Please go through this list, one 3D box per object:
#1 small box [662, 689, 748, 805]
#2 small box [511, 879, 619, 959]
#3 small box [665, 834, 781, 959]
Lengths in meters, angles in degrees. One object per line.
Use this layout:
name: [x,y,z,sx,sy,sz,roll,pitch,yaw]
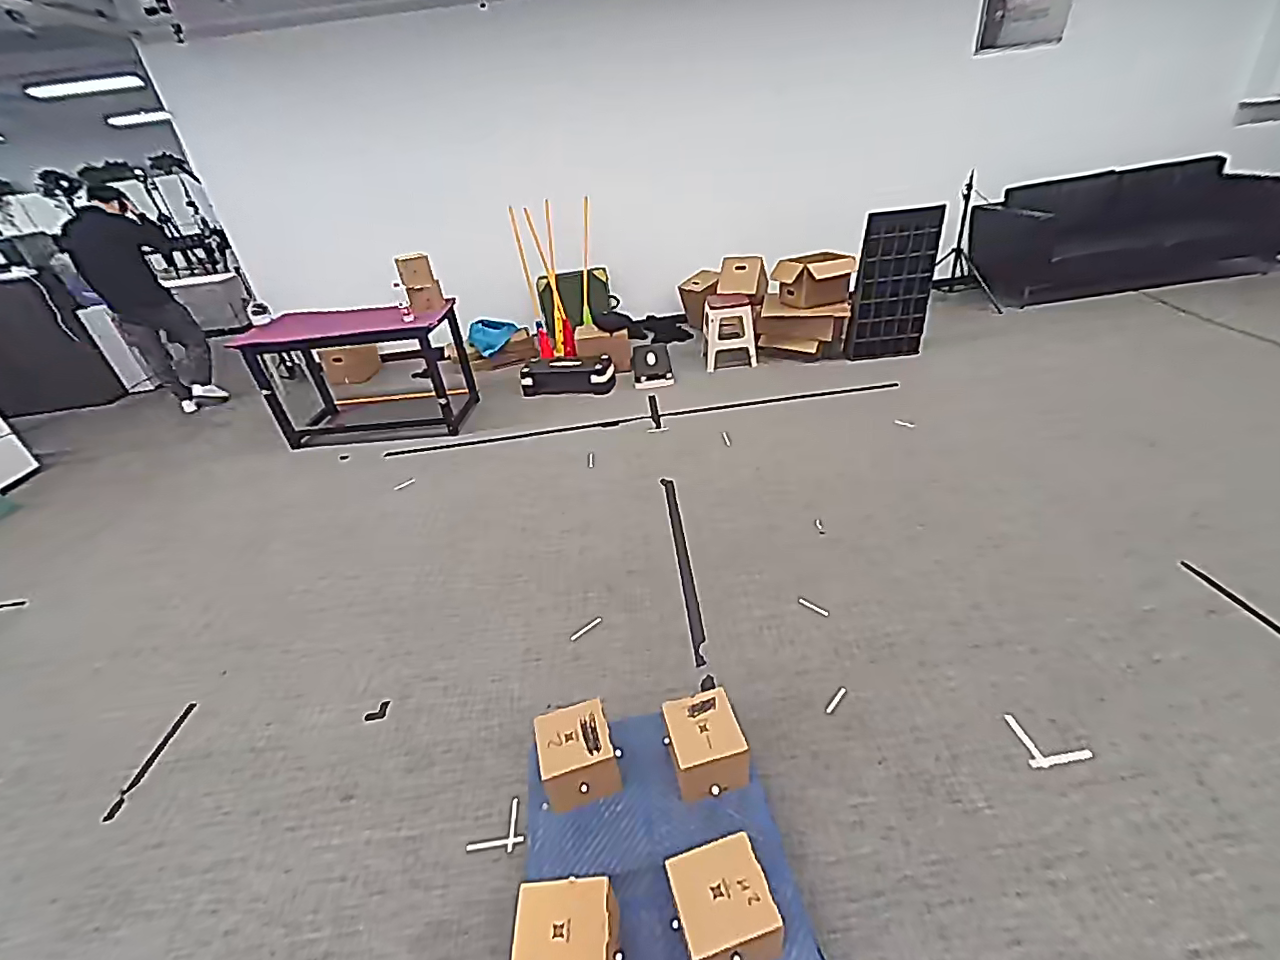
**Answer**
small box: [0.157,0.659,1.336,0.168,0.176,0.179,-13,34,-8]
small box: [-0.137,0.899,1.029,0.179,0.176,0.168,-6,32,0]
small box: [0.161,0.842,1.052,0.179,0.176,0.168,-14,33,-10]
